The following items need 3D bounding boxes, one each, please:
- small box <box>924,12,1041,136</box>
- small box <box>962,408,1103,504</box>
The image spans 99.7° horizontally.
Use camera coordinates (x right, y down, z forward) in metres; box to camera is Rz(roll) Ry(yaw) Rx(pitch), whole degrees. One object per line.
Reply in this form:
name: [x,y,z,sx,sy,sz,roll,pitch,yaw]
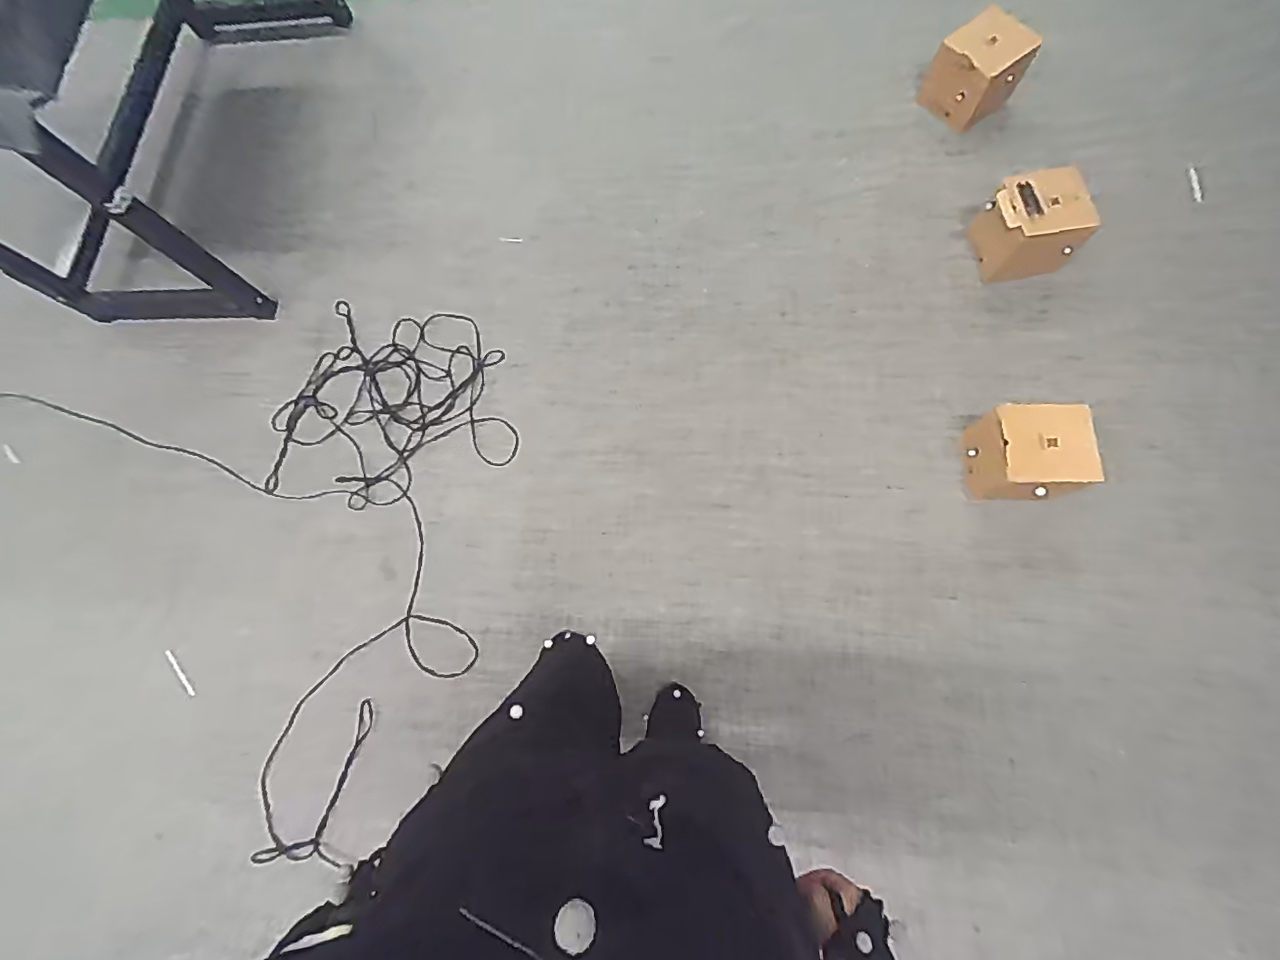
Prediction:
small box: [0.887,-1.062,1.428,0.179,0.176,0.168,-36,75,-5]
small box: [0.824,-0.047,1.152,0.179,0.176,0.168,0,75,7]
